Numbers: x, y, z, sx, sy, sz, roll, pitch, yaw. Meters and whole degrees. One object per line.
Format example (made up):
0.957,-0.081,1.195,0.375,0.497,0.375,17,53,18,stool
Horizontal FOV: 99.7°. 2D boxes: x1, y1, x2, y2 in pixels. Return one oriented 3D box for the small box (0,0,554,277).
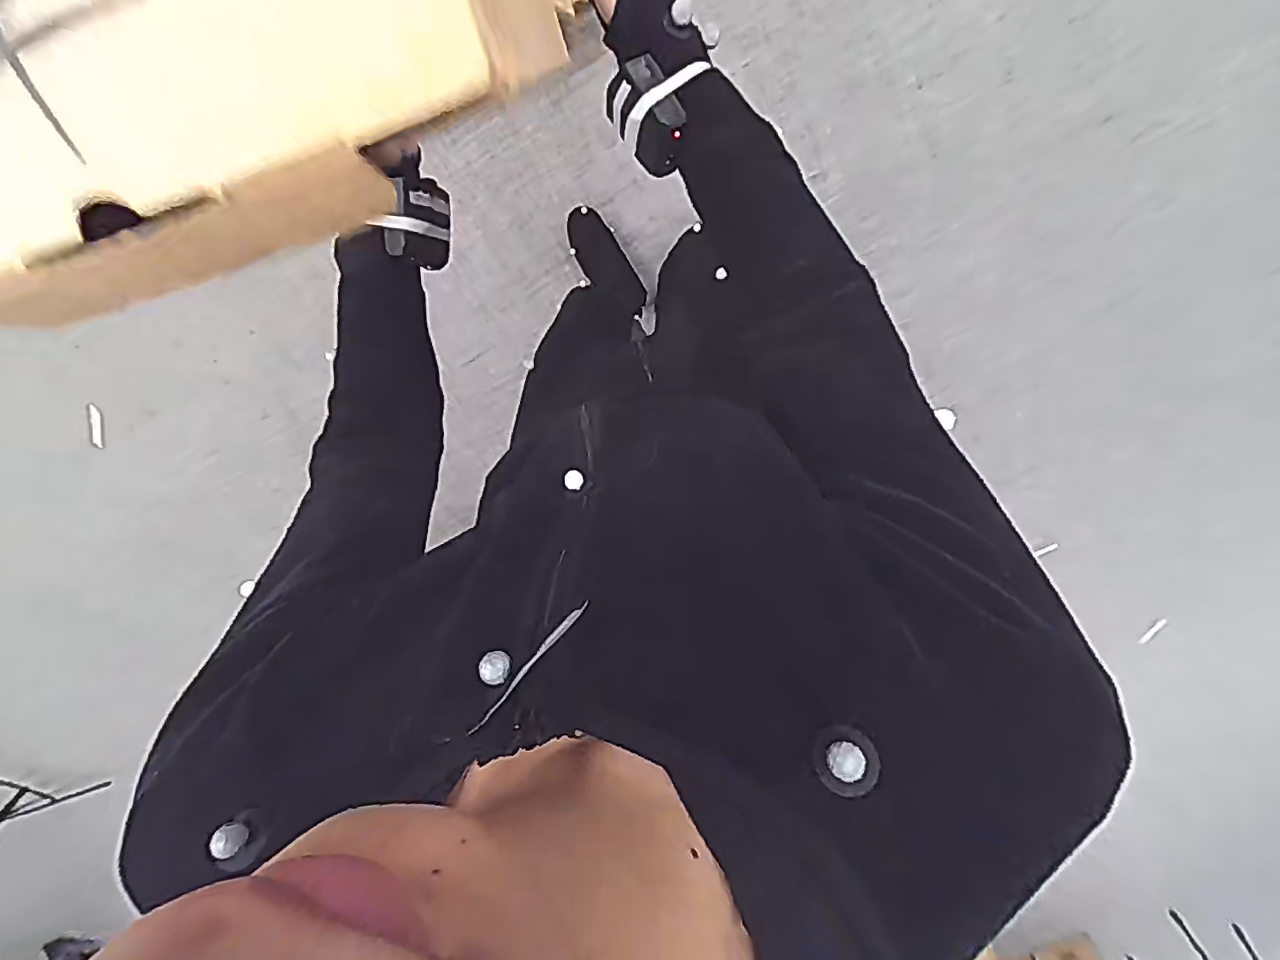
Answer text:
-0.128,-0.173,0.123,0.168,0.176,0.179,-15,128,9,small box
